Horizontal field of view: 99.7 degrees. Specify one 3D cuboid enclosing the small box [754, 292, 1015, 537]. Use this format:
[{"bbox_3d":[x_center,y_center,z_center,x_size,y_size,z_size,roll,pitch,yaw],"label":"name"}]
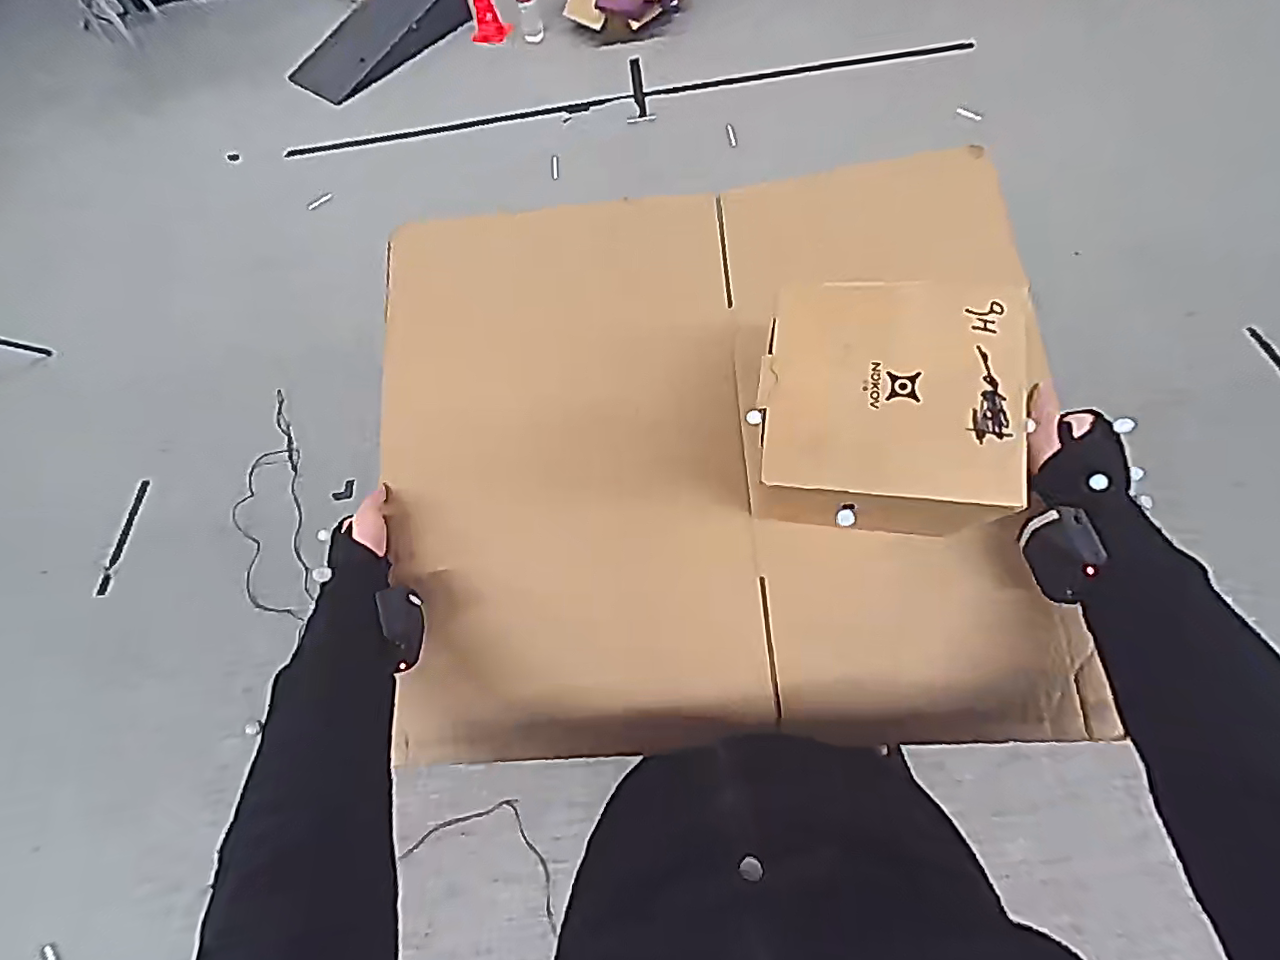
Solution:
[{"bbox_3d":[0.200,-0.047,0.478,0.179,0.176,0.168,5,78,15],"label":"small box"}]
